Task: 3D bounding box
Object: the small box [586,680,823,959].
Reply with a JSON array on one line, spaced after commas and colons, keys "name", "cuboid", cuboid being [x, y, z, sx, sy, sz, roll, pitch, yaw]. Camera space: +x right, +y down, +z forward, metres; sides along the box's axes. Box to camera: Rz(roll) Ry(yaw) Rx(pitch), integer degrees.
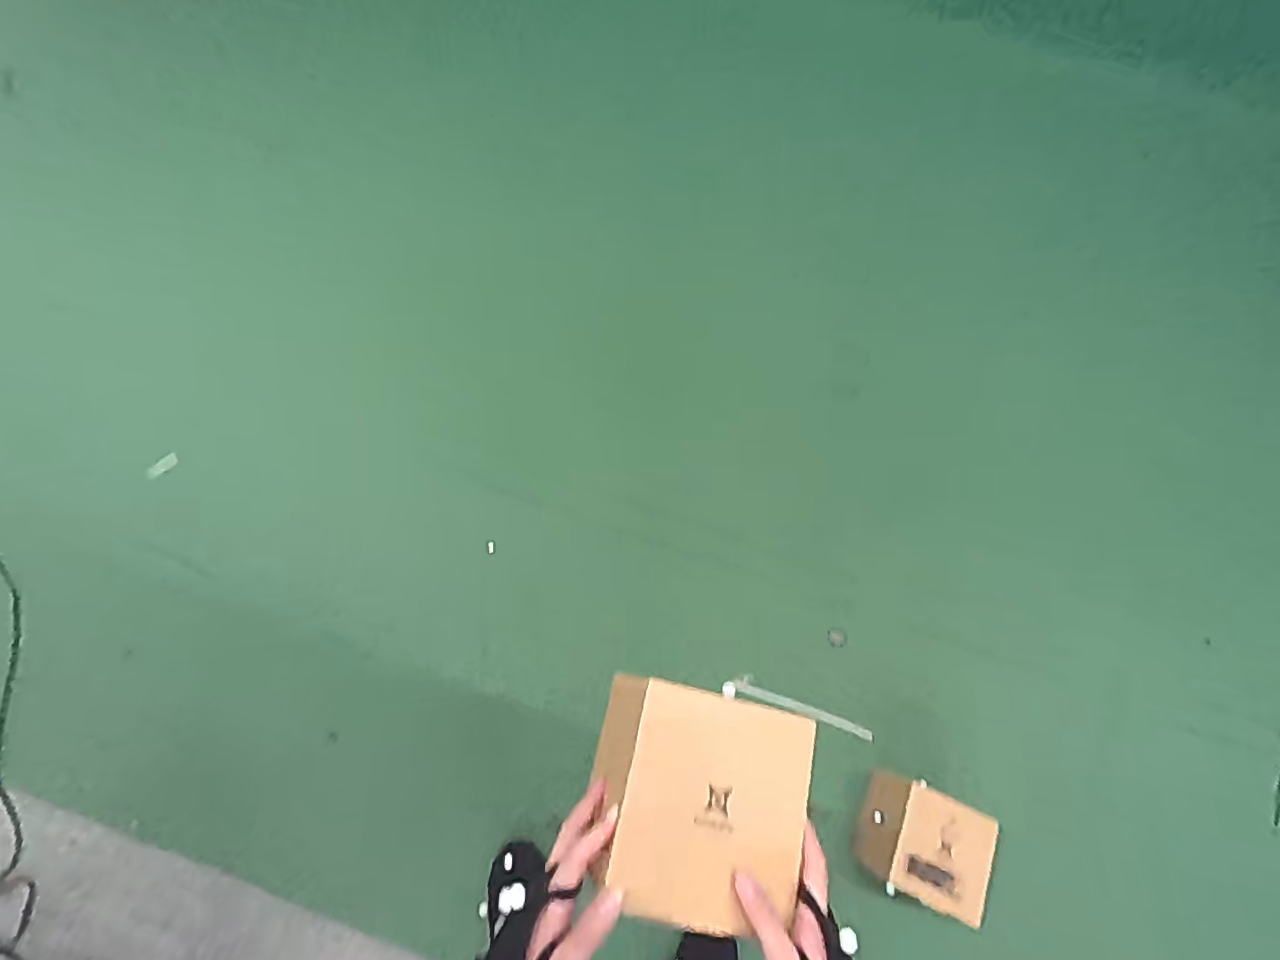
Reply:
[{"name": "small box", "cuboid": [0.051, 0.301, 0.520, 0.168, 0.176, 0.179, 16, 71, -7]}]
